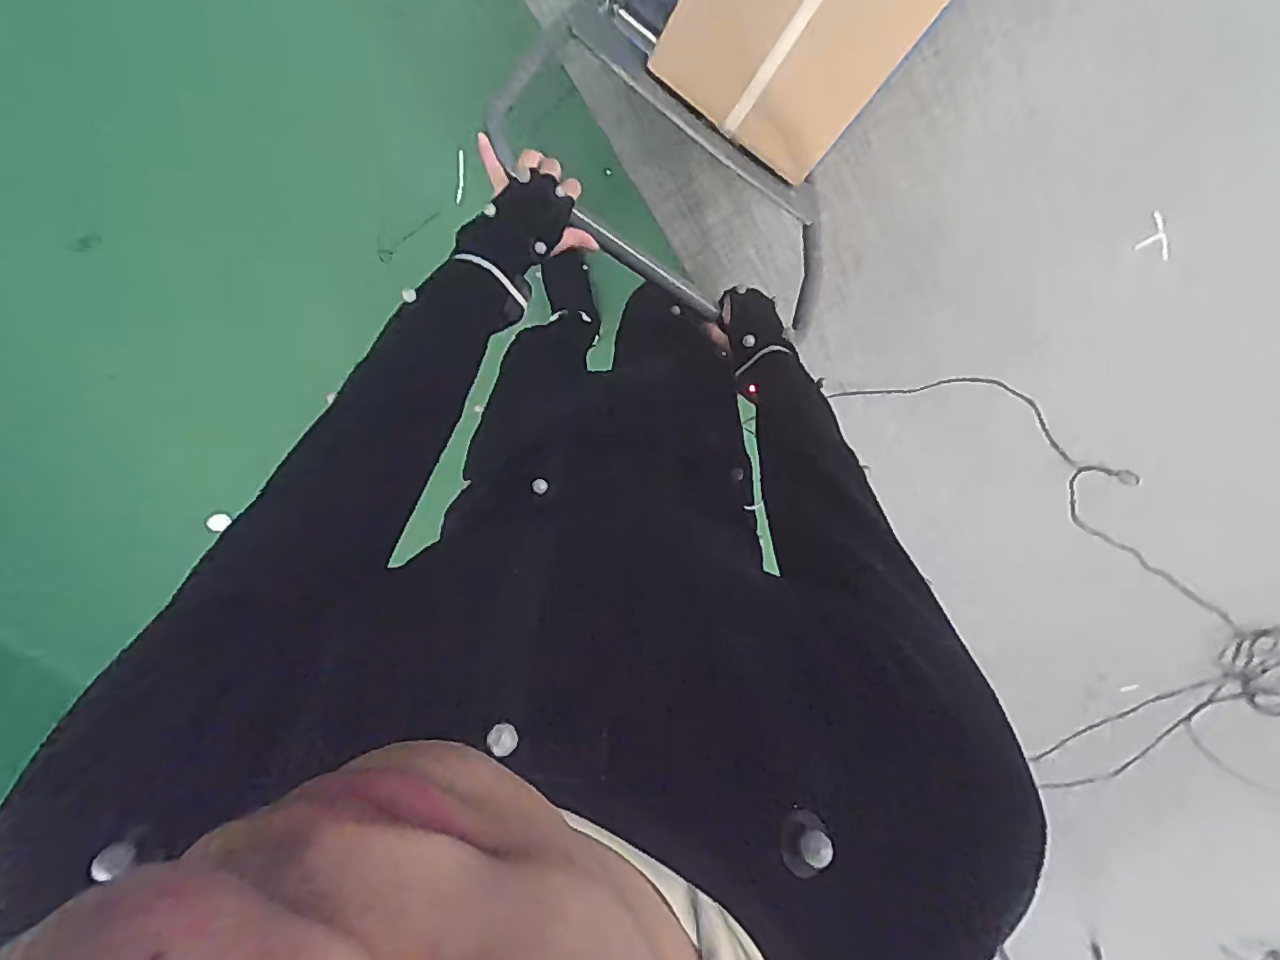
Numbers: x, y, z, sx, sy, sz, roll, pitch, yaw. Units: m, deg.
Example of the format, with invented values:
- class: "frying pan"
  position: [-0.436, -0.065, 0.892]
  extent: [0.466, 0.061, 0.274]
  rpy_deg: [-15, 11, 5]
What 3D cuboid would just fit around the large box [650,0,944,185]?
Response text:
- class: "large box"
  position: [0.264, -0.791, 0.869]
  extent: [0.320, 0.320, 0.408]
  rpy_deg: [28, 135, -18]
